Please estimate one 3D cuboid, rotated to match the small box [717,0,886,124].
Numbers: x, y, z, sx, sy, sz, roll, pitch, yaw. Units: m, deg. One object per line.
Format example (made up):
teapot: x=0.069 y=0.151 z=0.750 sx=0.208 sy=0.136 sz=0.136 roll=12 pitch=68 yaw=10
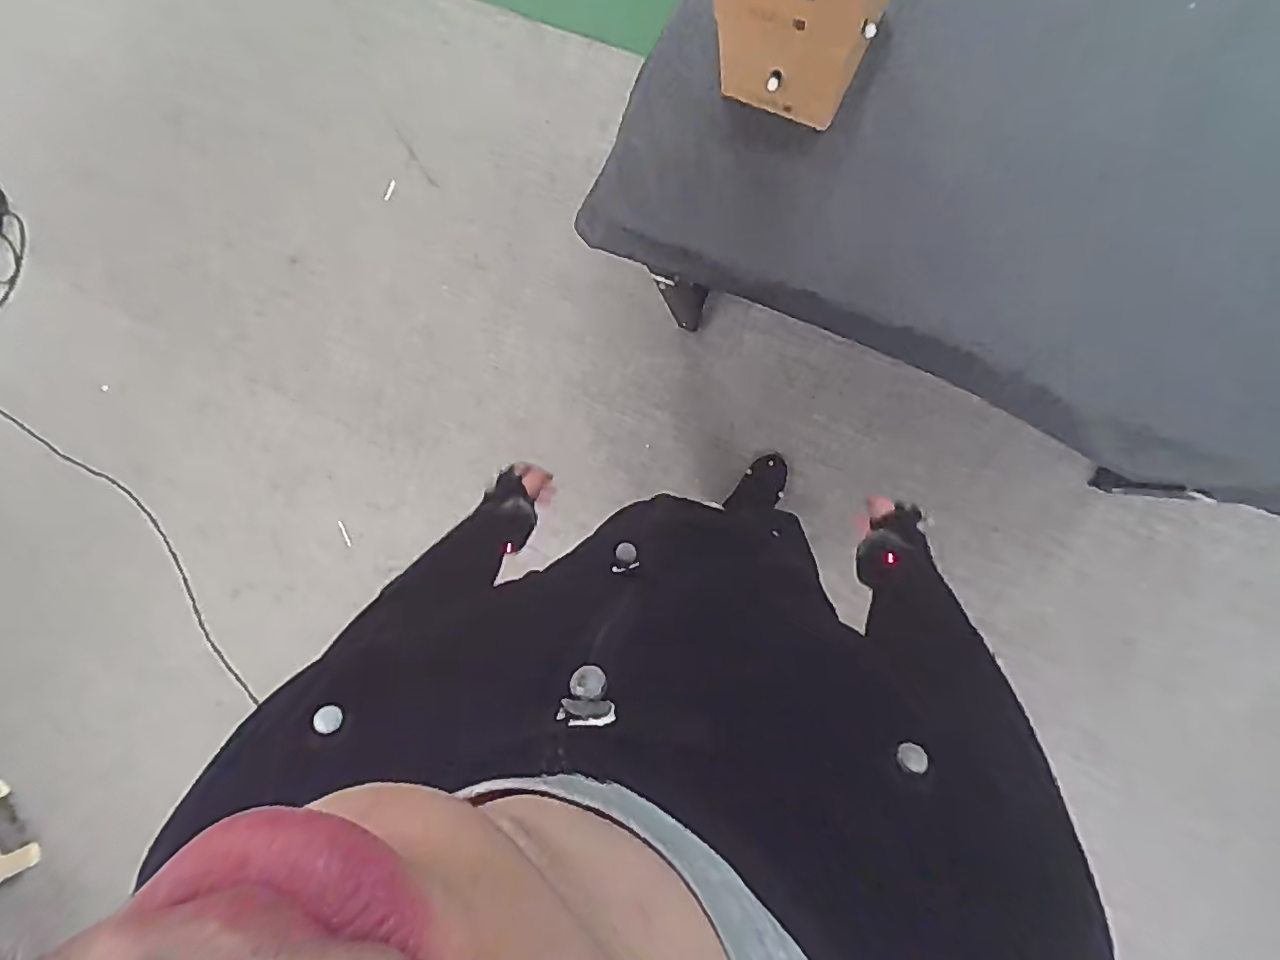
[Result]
small box: x=0.213 y=-0.603 z=0.689 sx=0.168 sy=0.176 sz=0.179 roll=26 pitch=97 yaw=8
